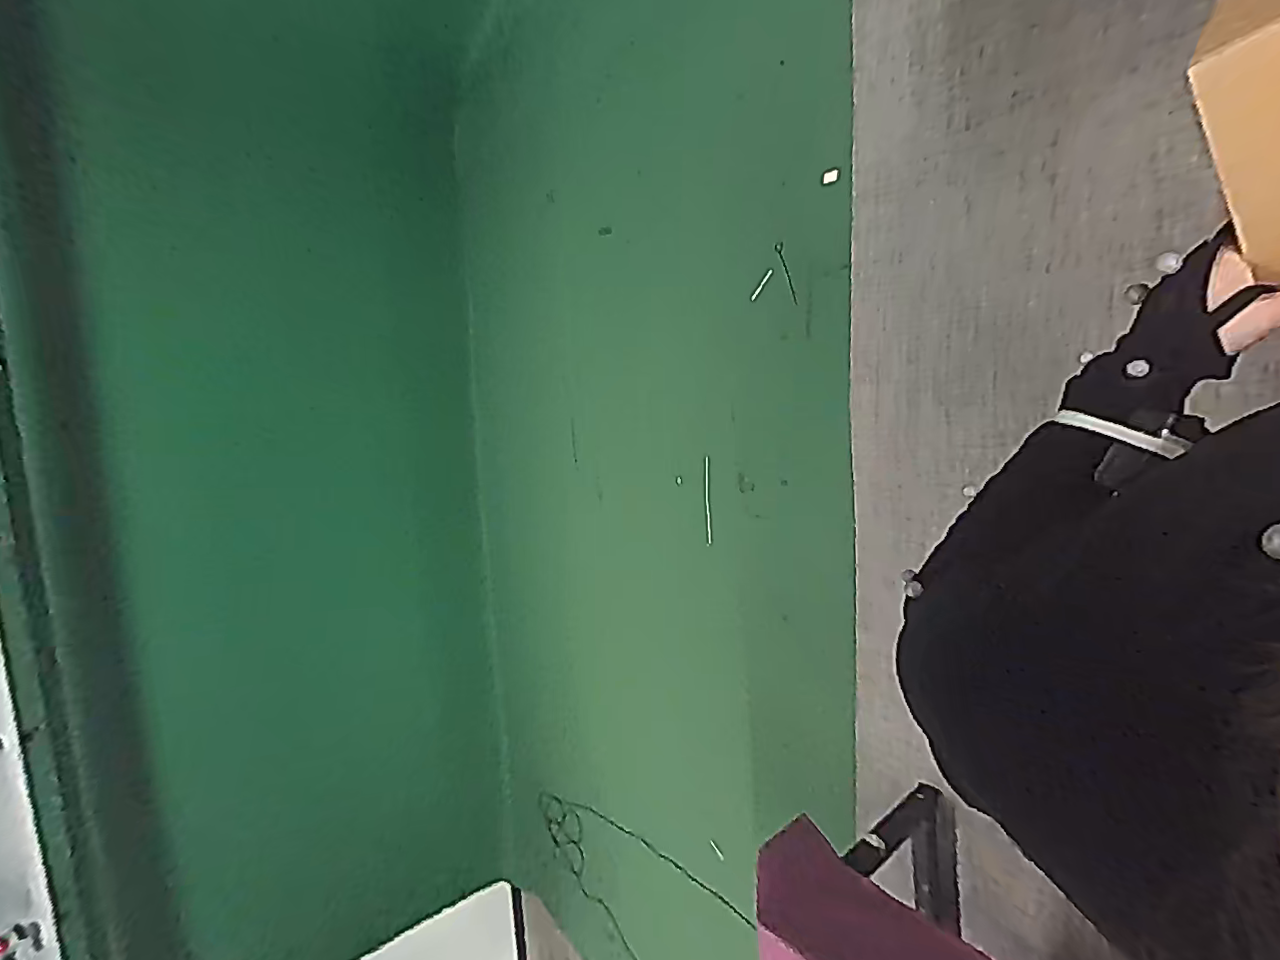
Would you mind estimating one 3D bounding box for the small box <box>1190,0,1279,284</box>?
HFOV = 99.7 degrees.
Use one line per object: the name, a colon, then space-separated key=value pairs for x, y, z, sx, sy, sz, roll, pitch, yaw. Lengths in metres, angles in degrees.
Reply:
small box: x=0.460 y=-0.249 z=0.301 sx=0.168 sy=0.176 sz=0.179 roll=49 pitch=154 yaw=-20
